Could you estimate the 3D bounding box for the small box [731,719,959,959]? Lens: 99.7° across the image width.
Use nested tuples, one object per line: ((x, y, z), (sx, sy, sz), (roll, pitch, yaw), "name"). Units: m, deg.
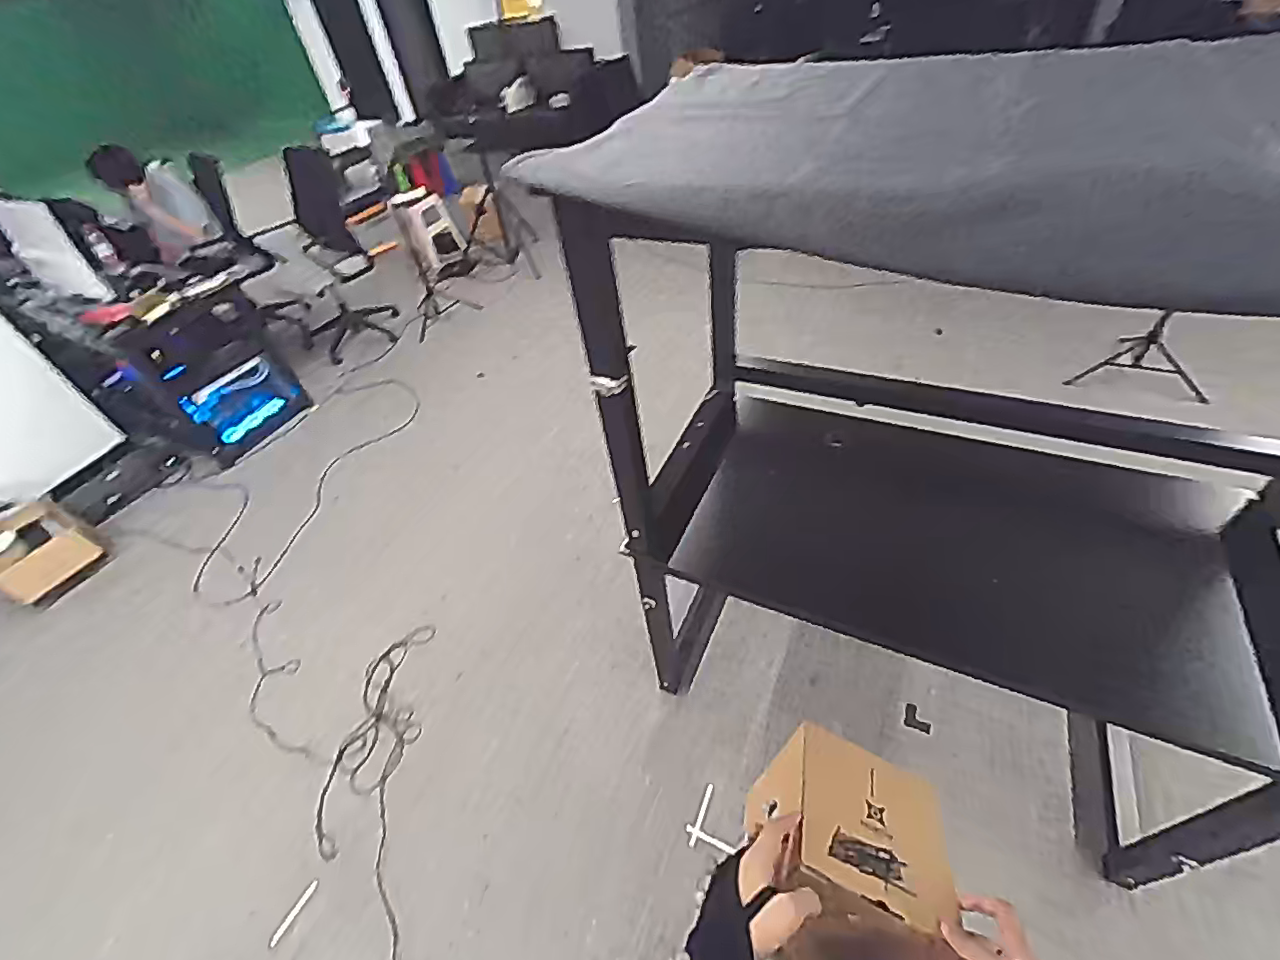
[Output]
((0.215, 0.421, 0.608), (0.168, 0.176, 0.179), (25, 29, 6), "small box")
